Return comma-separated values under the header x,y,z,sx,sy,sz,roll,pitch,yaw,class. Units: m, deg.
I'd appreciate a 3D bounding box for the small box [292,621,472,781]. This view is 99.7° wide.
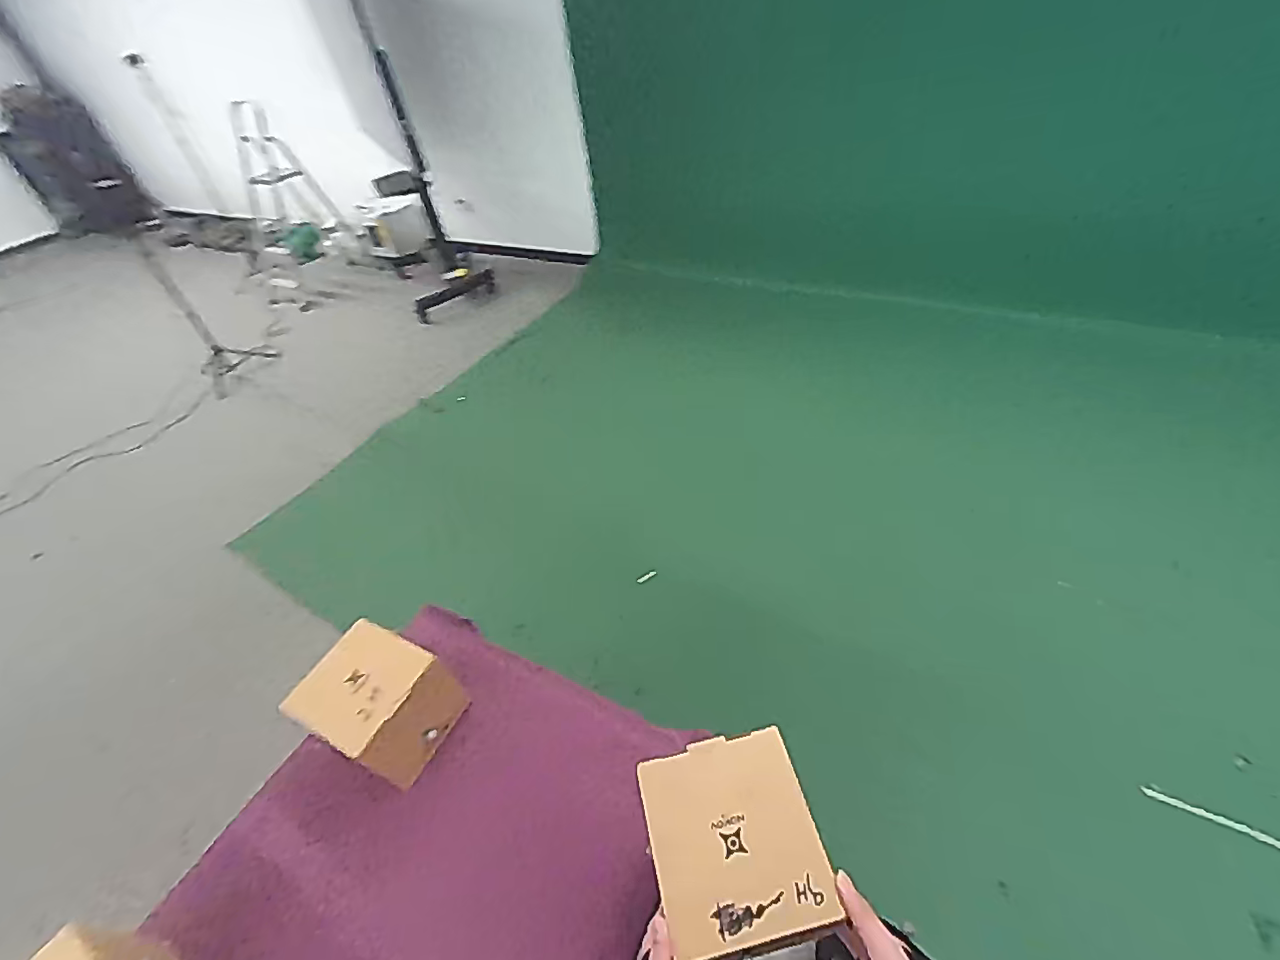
x,y,z,sx,sy,sz,roll,pitch,yaw,class
-0.419,0.371,0.903,0.179,0.176,0.168,16,53,24,small box

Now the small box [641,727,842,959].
x,y,z,sx,sy,sz,roll,pitch,yaw,class
0.106,0.413,0.610,0.168,0.176,0.179,-15,46,0,small box
